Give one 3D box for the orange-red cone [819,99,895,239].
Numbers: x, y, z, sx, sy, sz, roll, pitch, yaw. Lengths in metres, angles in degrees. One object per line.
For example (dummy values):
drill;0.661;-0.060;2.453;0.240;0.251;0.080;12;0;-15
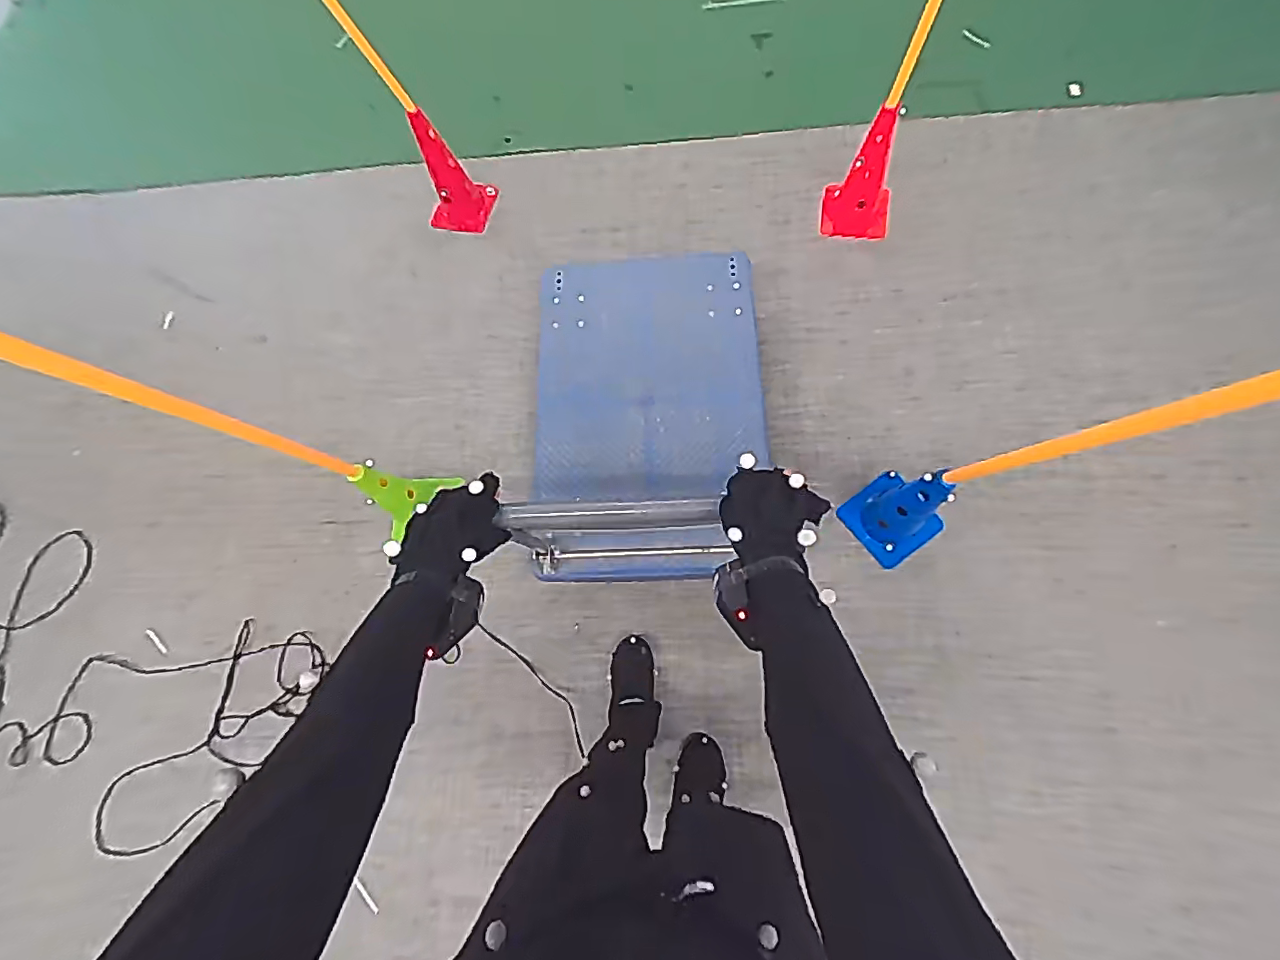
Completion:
orange-red cone;0.642;-0.884;1.514;0.198;0.360;0.199;9;74;11
